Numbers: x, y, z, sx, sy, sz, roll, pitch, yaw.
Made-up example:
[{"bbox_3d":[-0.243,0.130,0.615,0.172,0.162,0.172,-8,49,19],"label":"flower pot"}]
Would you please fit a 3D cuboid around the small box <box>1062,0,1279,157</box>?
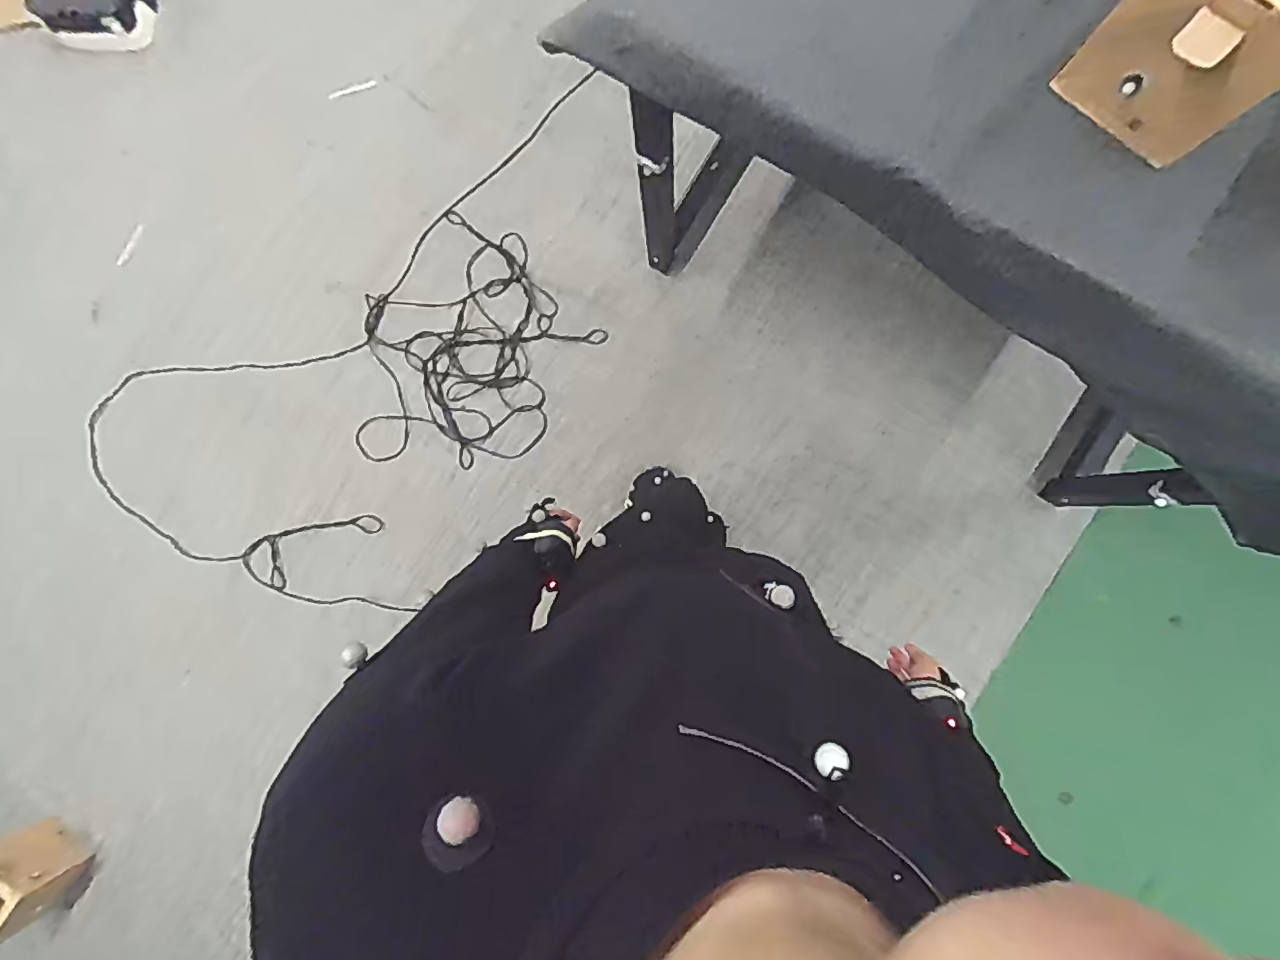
[{"bbox_3d":[0.586,-0.480,0.538,0.168,0.176,0.179,42,90,4],"label":"small box"}]
